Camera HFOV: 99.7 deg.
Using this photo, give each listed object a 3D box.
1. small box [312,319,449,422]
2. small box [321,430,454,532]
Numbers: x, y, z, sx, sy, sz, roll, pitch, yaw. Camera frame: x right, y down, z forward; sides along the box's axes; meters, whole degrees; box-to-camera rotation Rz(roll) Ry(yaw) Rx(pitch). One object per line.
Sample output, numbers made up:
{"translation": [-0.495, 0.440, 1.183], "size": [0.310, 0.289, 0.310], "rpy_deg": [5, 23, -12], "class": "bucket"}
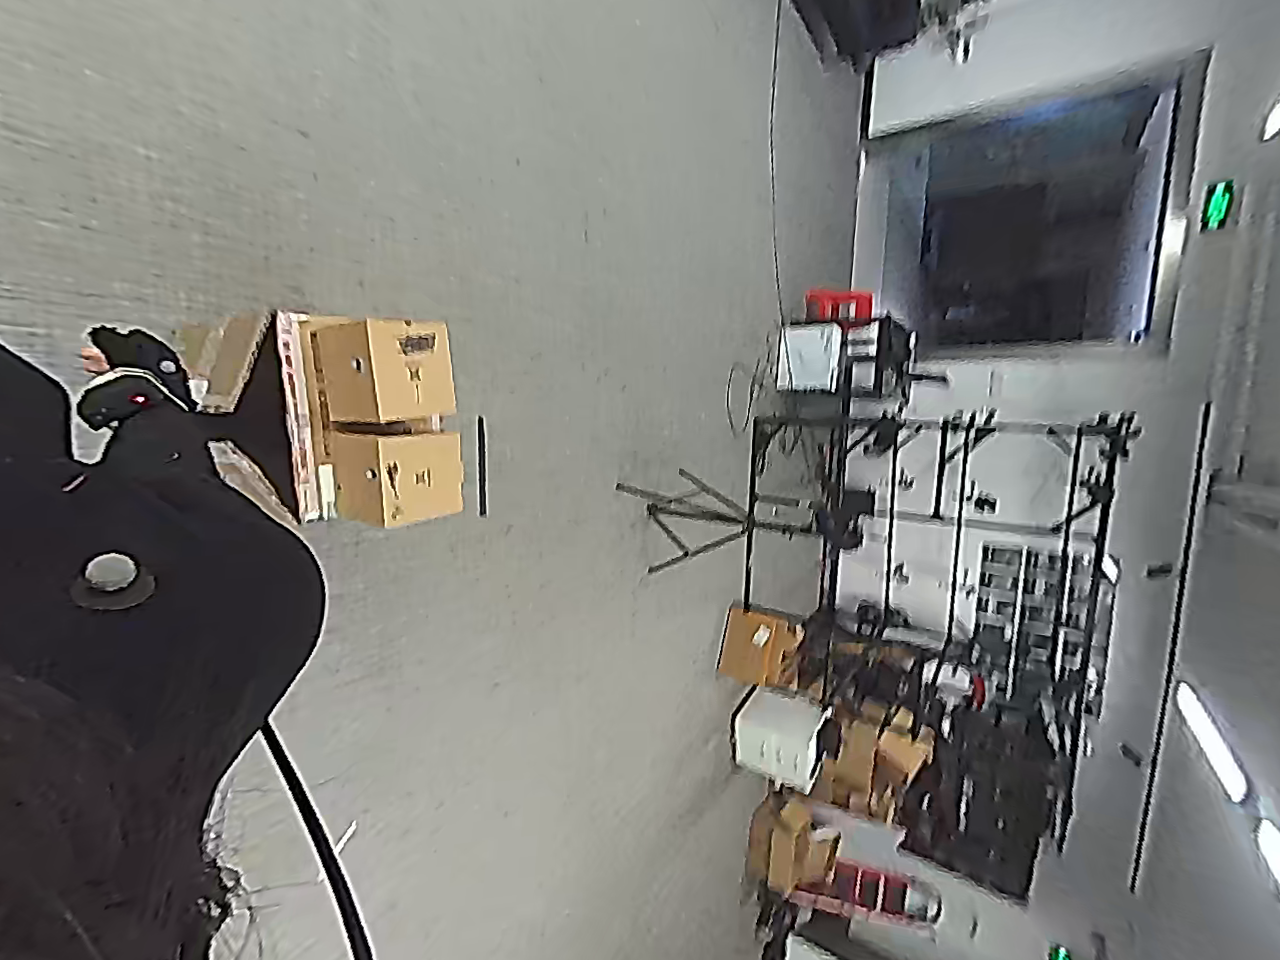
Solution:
{"translation": [-0.492, -0.203, 1.027], "size": [0.168, 0.176, 0.179], "rpy_deg": [-18, 109, -55], "class": "small box"}
{"translation": [-0.491, -0.008, 1.061], "size": [0.179, 0.176, 0.168], "rpy_deg": [-14, 108, -57], "class": "small box"}
